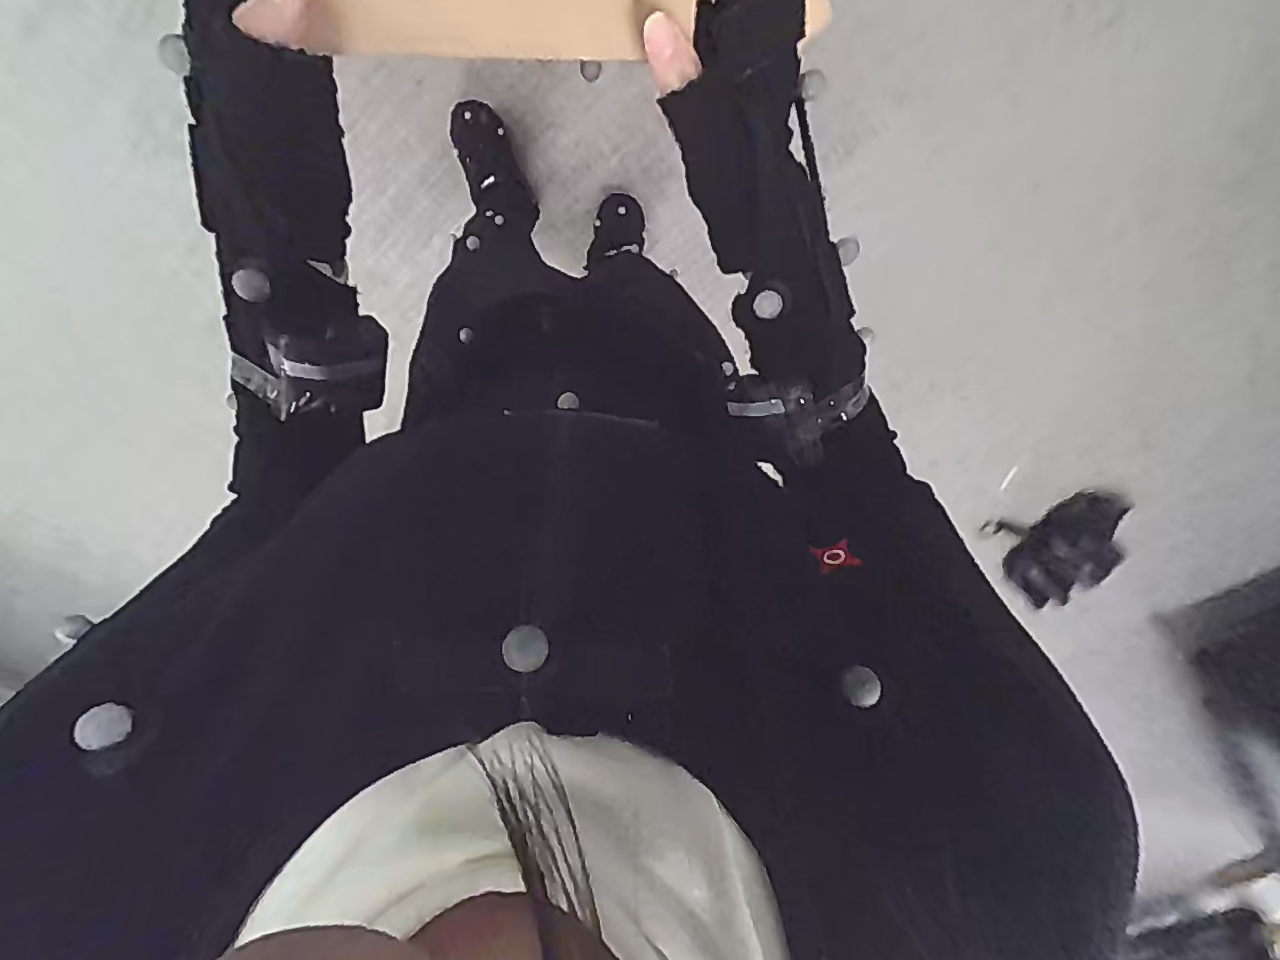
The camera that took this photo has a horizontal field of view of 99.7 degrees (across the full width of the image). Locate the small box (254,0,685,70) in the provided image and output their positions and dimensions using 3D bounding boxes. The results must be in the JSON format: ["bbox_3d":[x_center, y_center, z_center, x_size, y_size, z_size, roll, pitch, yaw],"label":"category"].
[{"bbox_3d":[-0.076,-0.294,0.237,0.179,0.176,0.168,-4,133,-2],"label":"small box"}]
